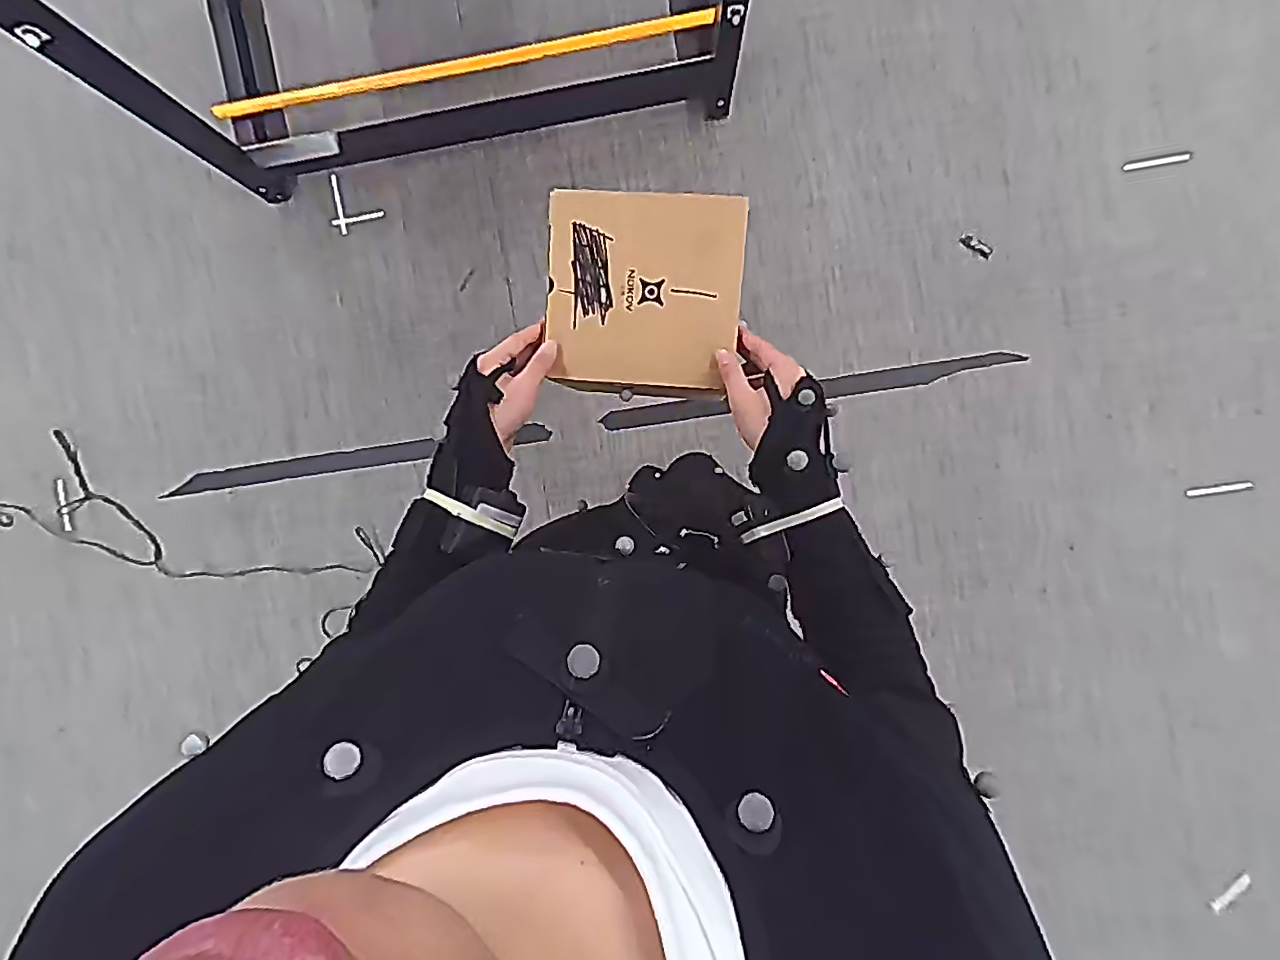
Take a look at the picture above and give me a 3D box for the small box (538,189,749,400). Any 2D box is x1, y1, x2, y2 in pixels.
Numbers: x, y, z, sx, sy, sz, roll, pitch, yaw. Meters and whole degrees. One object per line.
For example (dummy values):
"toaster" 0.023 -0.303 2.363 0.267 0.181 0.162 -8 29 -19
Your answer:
"small box" 0.007 -0.173 0.551 0.179 0.176 0.168 5 96 4
